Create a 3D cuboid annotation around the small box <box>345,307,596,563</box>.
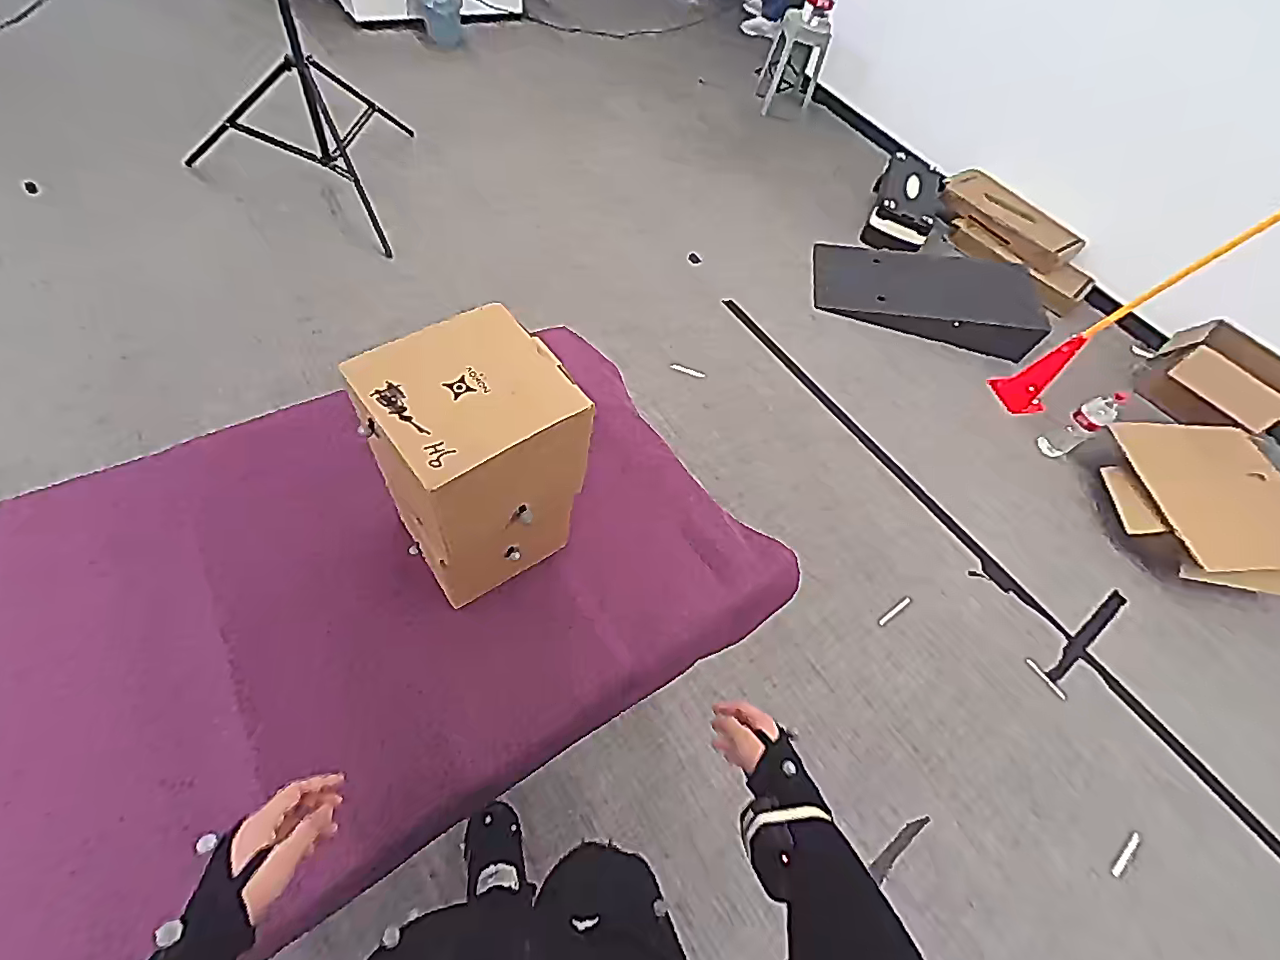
[{"bbox_3d":[-0.172,-0.045,0.574,0.179,0.176,0.168,-32,69,-28],"label":"small box"}]
